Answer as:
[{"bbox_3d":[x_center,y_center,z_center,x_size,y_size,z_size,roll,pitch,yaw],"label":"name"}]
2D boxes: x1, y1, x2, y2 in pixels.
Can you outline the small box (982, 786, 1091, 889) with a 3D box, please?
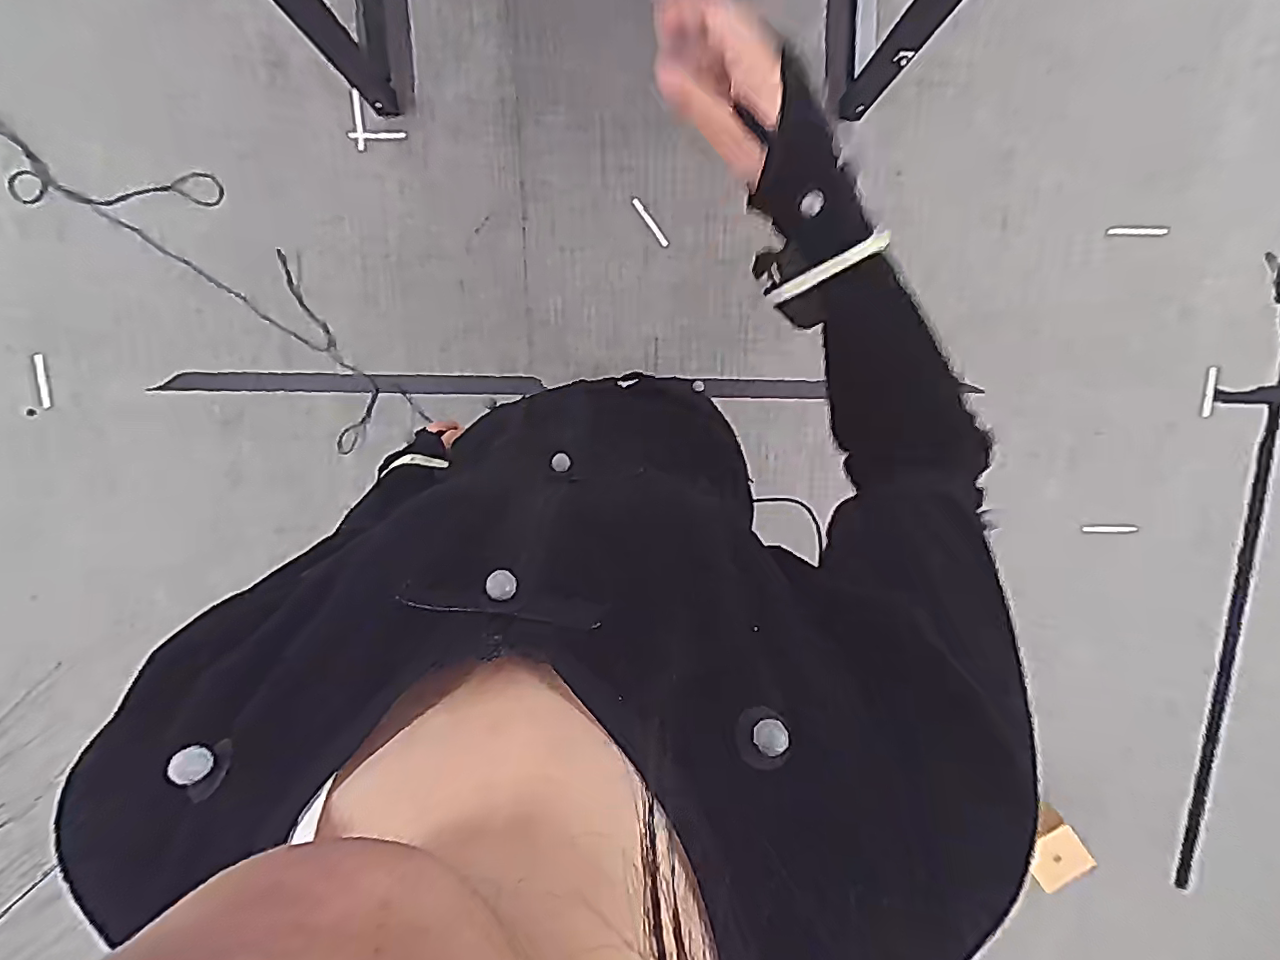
[{"bbox_3d":[1.186,1.065,1.631,0.168,0.176,0.179,-37,100,6],"label":"small box"}]
